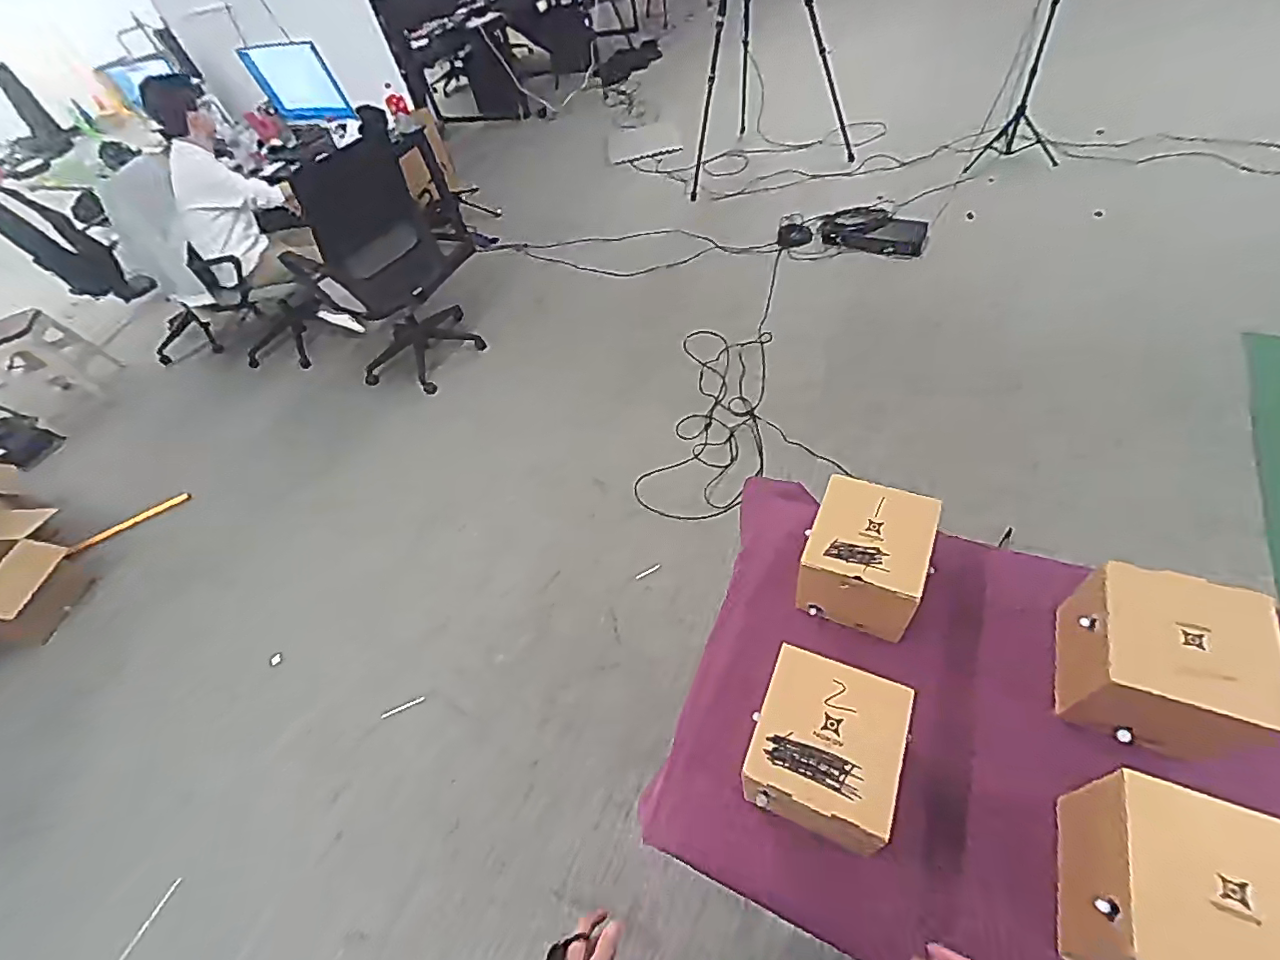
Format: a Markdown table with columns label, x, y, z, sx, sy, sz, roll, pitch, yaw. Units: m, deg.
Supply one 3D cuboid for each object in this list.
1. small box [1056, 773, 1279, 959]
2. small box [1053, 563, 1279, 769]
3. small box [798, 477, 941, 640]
| label | x | y | z | sx | sy | sz | roll | pitch | yaw |
| --- | --- | --- | --- | --- | --- | --- | --- | --- | --- |
| small box | 0.566 | 0.446 | 0.566 | 0.168 | 0.176 | 0.179 | 14 | 56 | 22 |
| small box | 0.670 | 0.243 | 0.707 | 0.168 | 0.176 | 0.179 | 15 | 57 | 24 |
| small box | 0.358 | 0.129 | 0.864 | 0.168 | 0.176 | 0.179 | 17 | 58 | 24 |
